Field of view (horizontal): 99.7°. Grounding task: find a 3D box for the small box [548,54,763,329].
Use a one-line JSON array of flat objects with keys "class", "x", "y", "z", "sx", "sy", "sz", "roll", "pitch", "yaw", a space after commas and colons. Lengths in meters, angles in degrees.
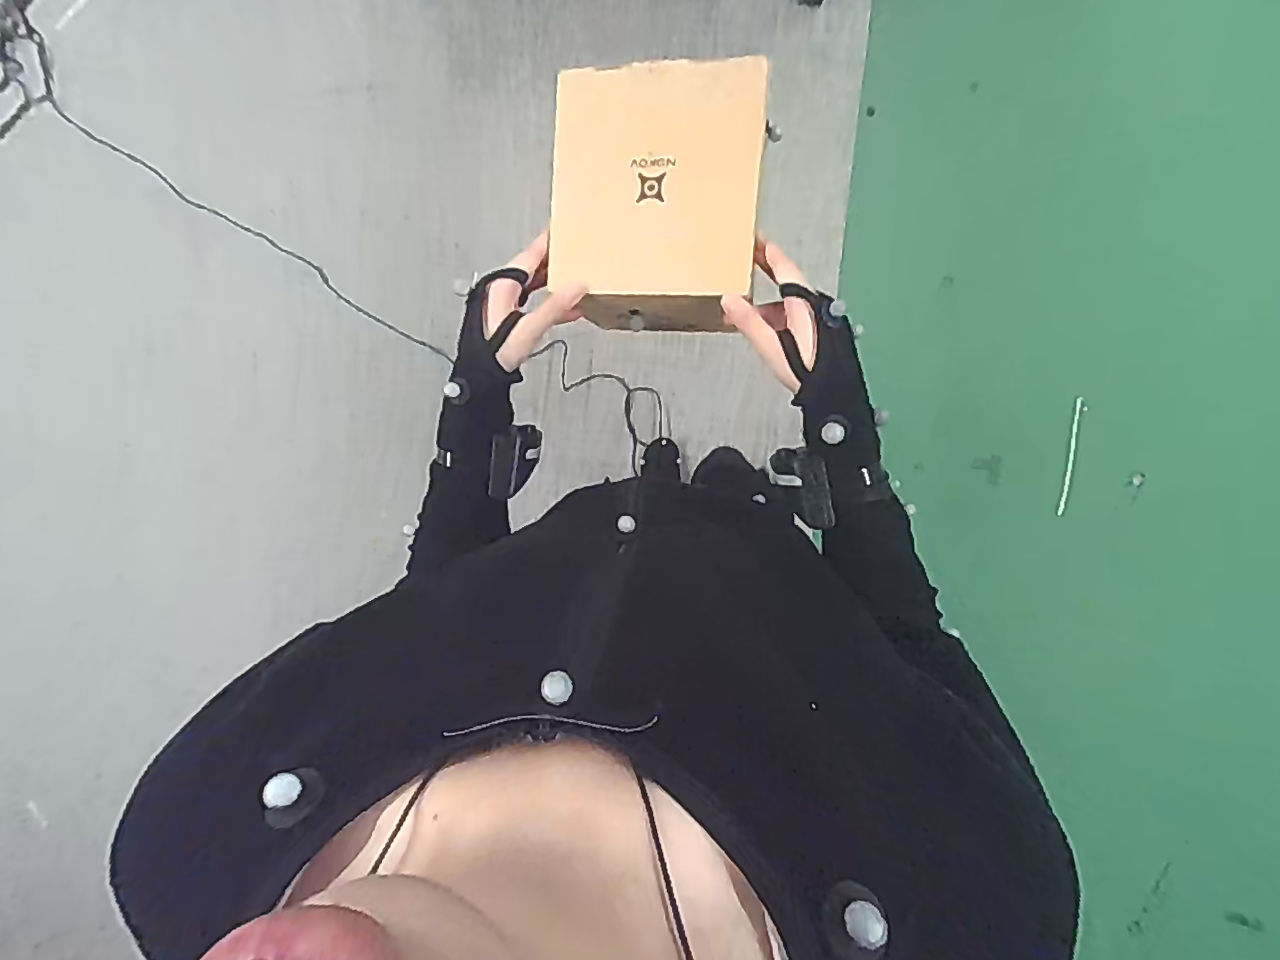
[{"class": "small box", "x": 0.024, "y": -0.241, "z": 0.500, "sx": 0.168, "sy": 0.176, "sz": 0.179, "roll": 4, "pitch": 95, "yaw": 11}]
